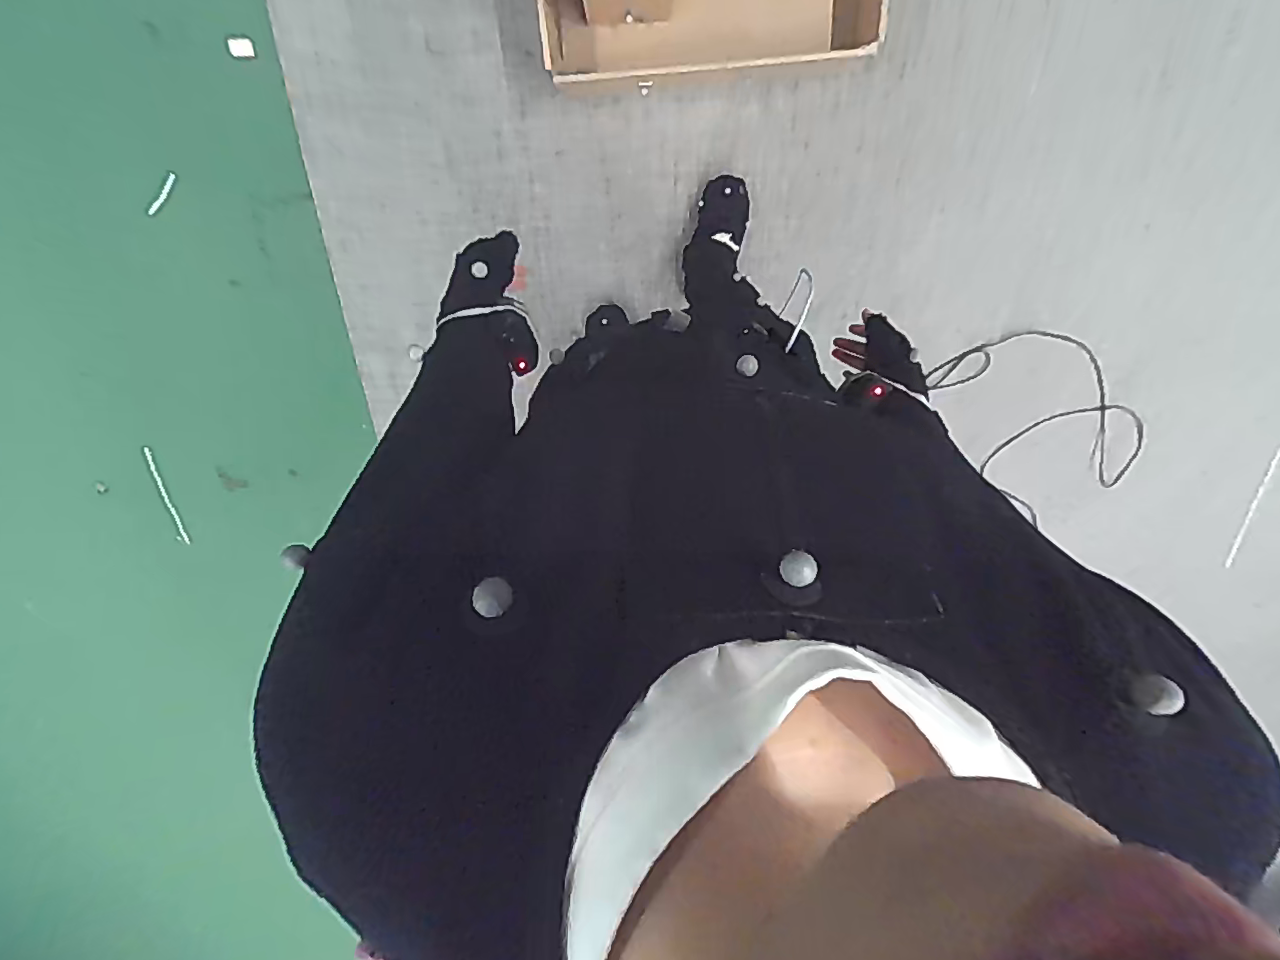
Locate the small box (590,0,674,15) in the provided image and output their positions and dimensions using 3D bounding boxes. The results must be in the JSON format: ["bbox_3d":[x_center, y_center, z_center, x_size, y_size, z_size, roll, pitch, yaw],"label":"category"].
[{"bbox_3d":[-0.018,-0.960,0.946,0.168,0.176,0.179,-4,114,1],"label":"small box"}]
